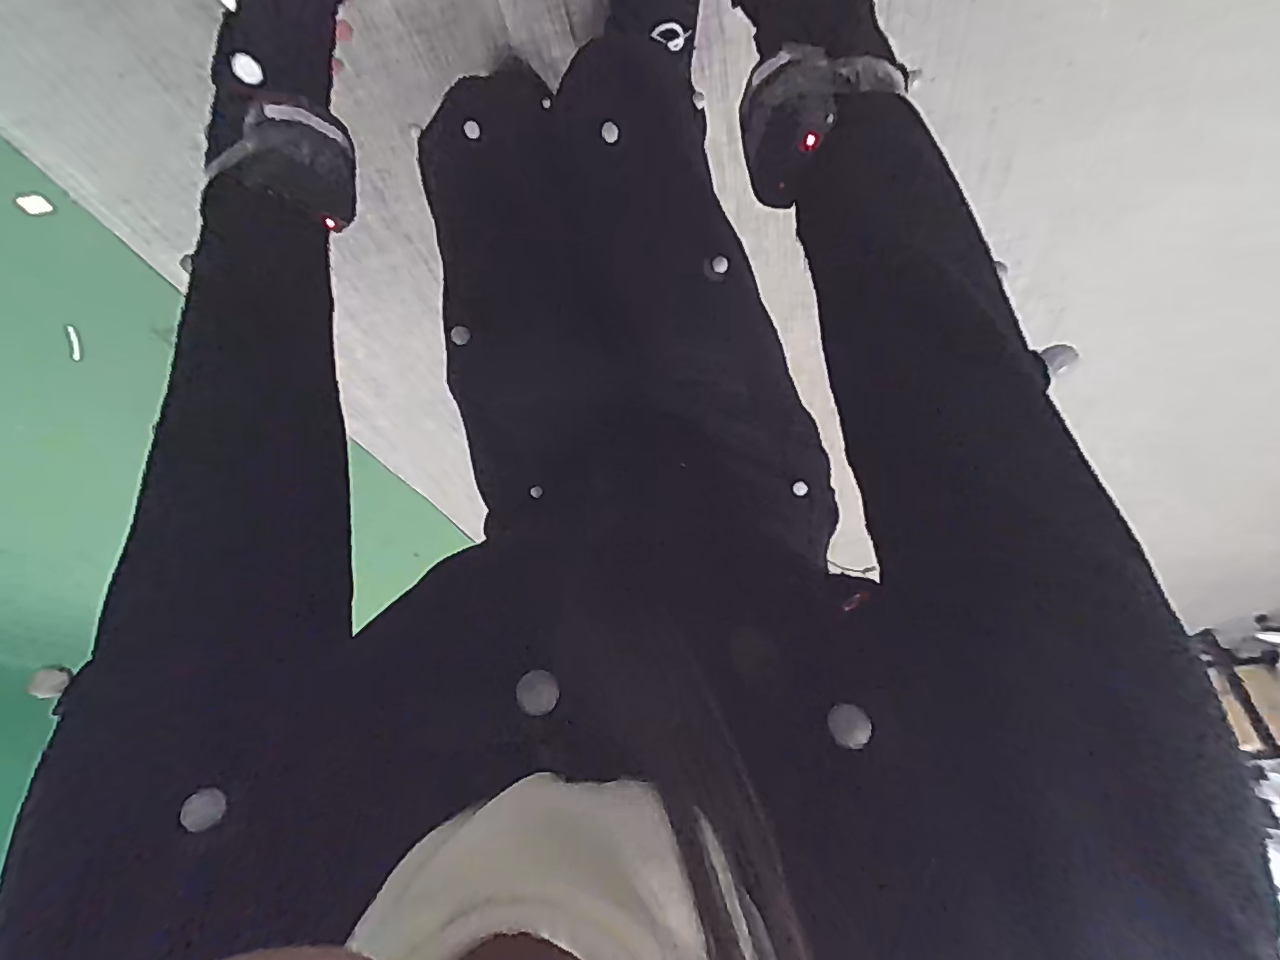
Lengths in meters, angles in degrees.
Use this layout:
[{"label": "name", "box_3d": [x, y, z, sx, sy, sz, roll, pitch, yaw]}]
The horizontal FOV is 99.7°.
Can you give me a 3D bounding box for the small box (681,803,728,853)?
[{"label": "small box", "box_3d": [0.270, 1.460, 2.270, 0.179, 0.176, 0.168, -7, 149, 10]}]
